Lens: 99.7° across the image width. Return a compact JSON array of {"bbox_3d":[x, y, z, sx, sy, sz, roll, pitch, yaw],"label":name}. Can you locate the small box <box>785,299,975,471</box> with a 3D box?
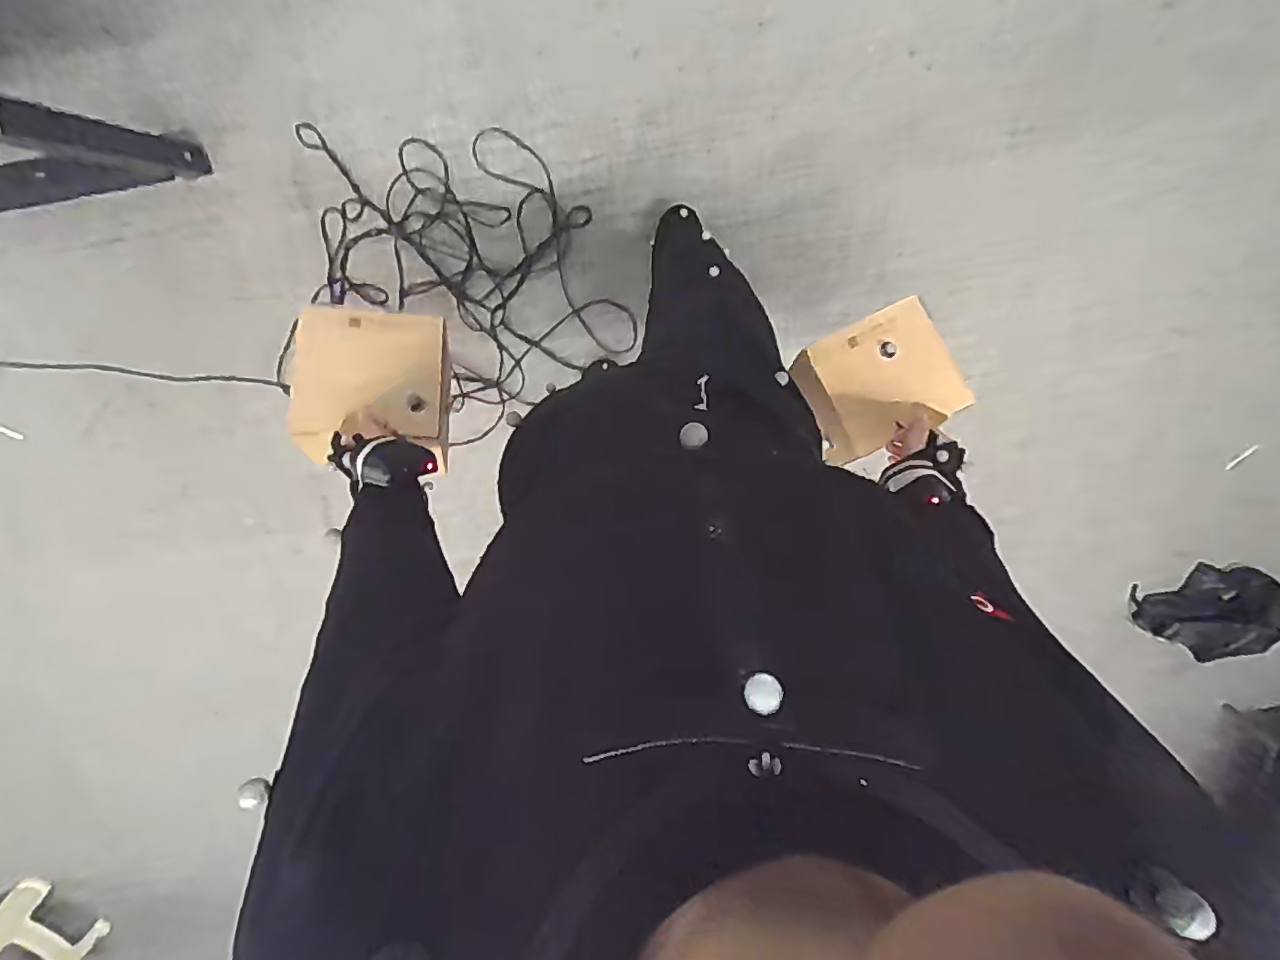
[{"bbox_3d":[0.331,-0.132,0.787,0.168,0.179,0.176,-27,82,2],"label":"small box"}]
